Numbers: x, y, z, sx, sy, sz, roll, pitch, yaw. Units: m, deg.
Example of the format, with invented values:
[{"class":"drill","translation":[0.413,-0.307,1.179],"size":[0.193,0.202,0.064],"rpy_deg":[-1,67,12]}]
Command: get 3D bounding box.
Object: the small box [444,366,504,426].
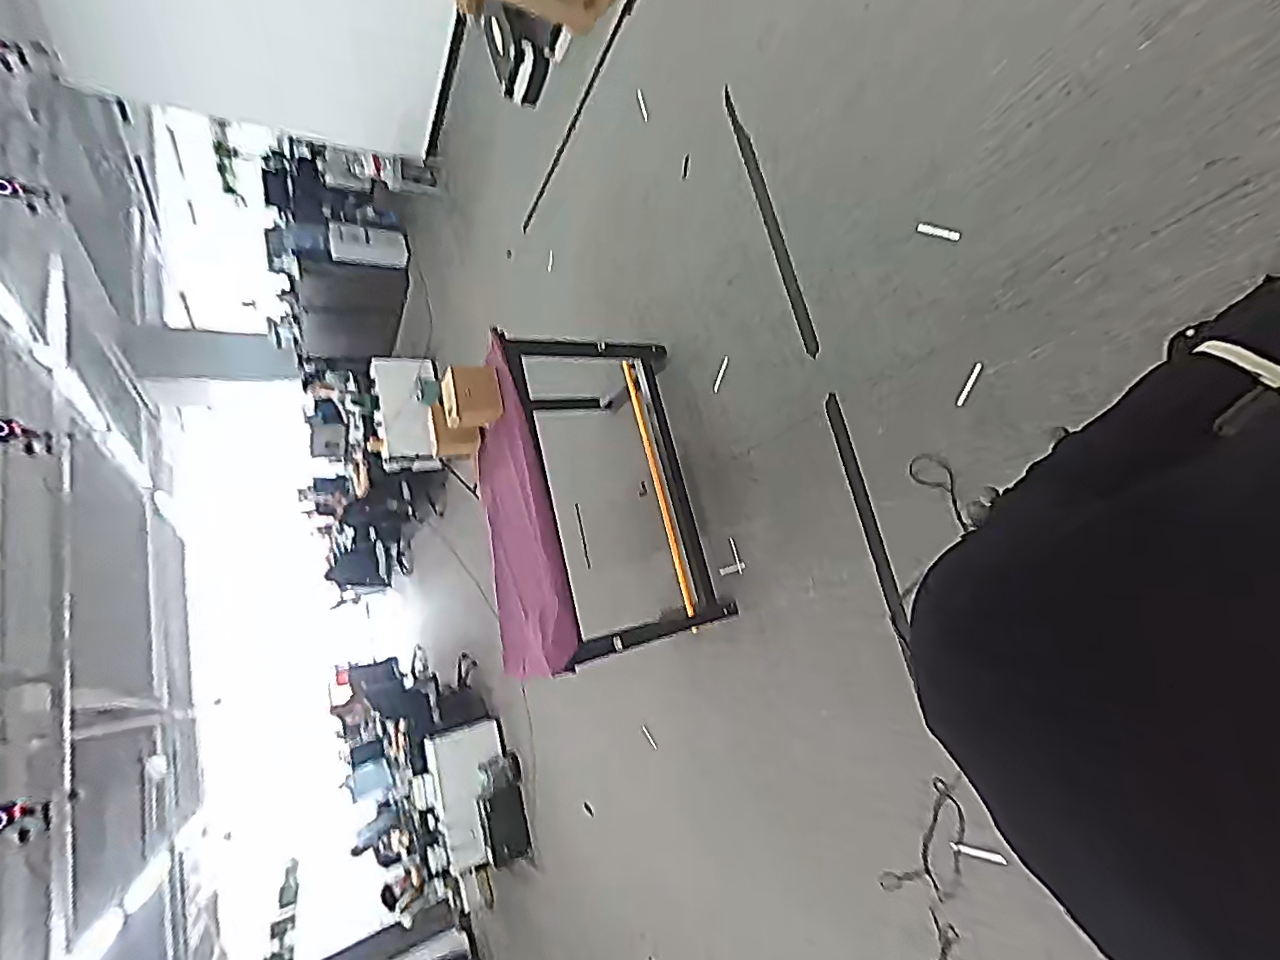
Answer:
[{"class":"small box","translation":[-0.614,-0.313,2.006],"size":[0.168,0.176,0.179],"rpy_deg":[-28,72,57]}]
